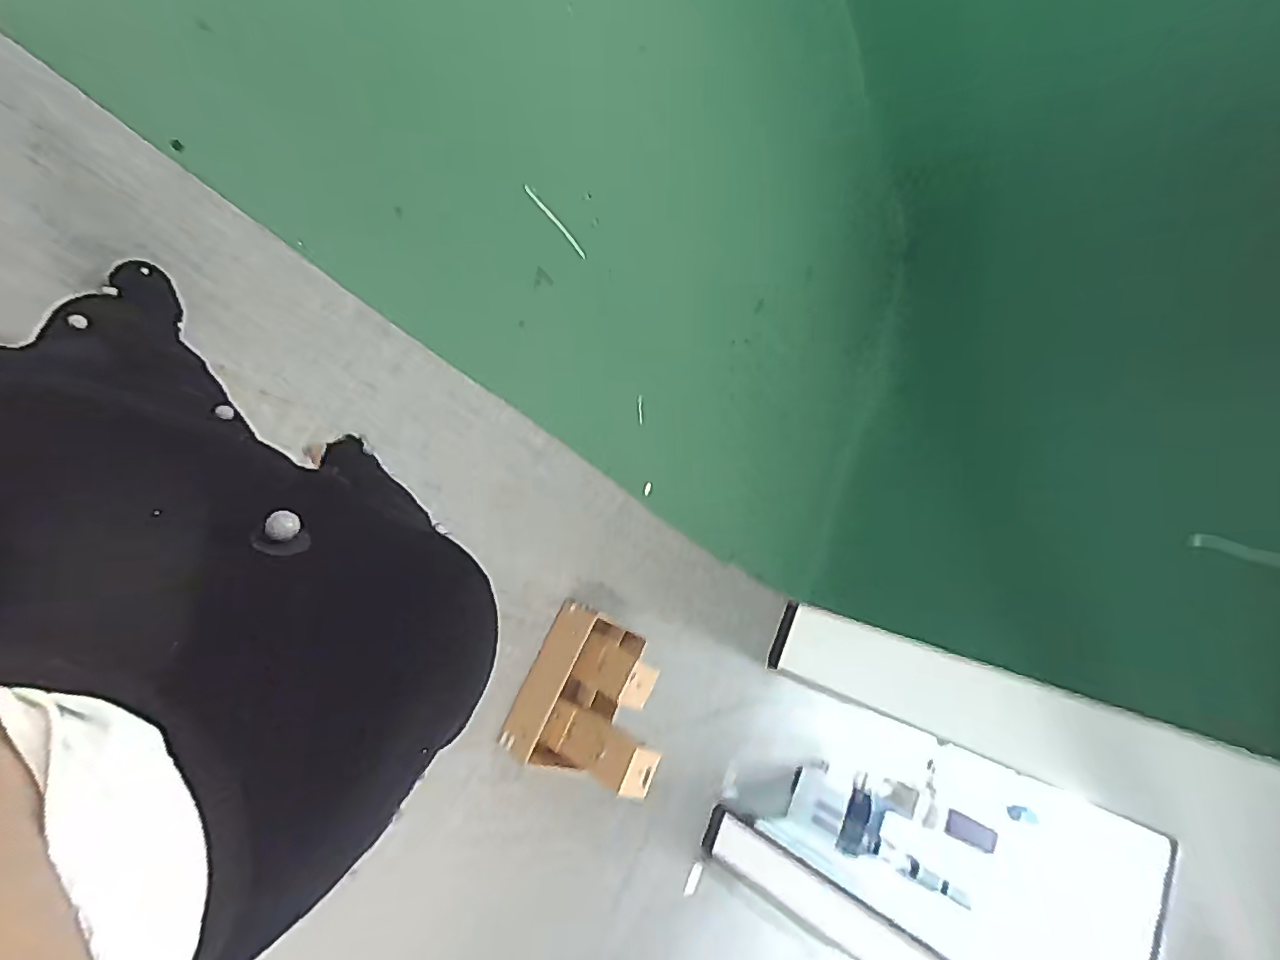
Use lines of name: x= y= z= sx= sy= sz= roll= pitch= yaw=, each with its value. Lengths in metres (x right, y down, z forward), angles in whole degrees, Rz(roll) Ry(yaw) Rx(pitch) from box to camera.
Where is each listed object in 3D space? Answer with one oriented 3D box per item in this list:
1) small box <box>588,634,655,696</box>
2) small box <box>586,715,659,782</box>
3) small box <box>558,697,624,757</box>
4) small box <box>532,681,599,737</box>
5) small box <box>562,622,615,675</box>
small box: x=-0.075 y=0.740 z=2.171 sx=0.179 sy=0.176 sz=0.168 roll=45 pitch=67 yaw=-45
small box: x=-0.067 y=0.991 z=2.002 sx=0.179 sy=0.176 sz=0.168 roll=40 pitch=68 yaw=-45
small box: x=-0.186 y=0.970 z=2.113 sx=0.179 sy=0.176 sz=0.168 roll=41 pitch=68 yaw=-45
small box: x=-0.309 y=0.944 z=2.218 sx=0.179 sy=0.176 sz=0.168 roll=38 pitch=71 yaw=-46
small box: x=-0.198 y=0.714 z=2.278 sx=0.179 sy=0.176 sz=0.168 roll=37 pitch=74 yaw=-46
